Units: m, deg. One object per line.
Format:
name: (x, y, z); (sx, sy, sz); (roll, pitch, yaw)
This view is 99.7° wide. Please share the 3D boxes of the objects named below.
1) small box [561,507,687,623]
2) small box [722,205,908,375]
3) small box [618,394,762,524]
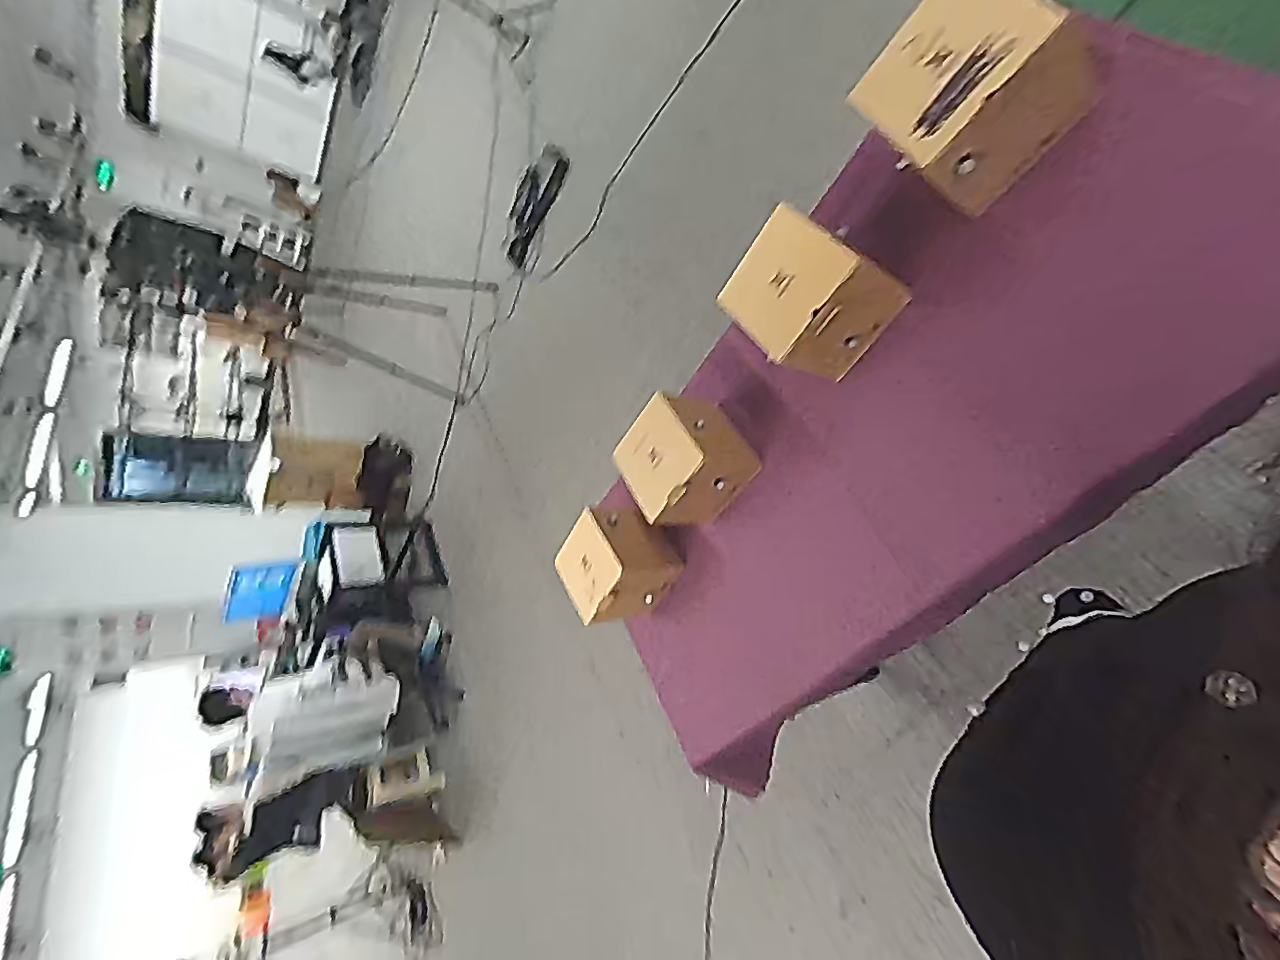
small box: (-0.035, 0.177, 1.144); (0.179, 0.176, 0.168); (55, 126, 35)
small box: (0.268, -0.282, 0.836); (0.168, 0.176, 0.179); (-55, 51, 31)
small box: (0.095, -0.036, 1.014); (0.168, 0.176, 0.179); (-52, 51, 31)
